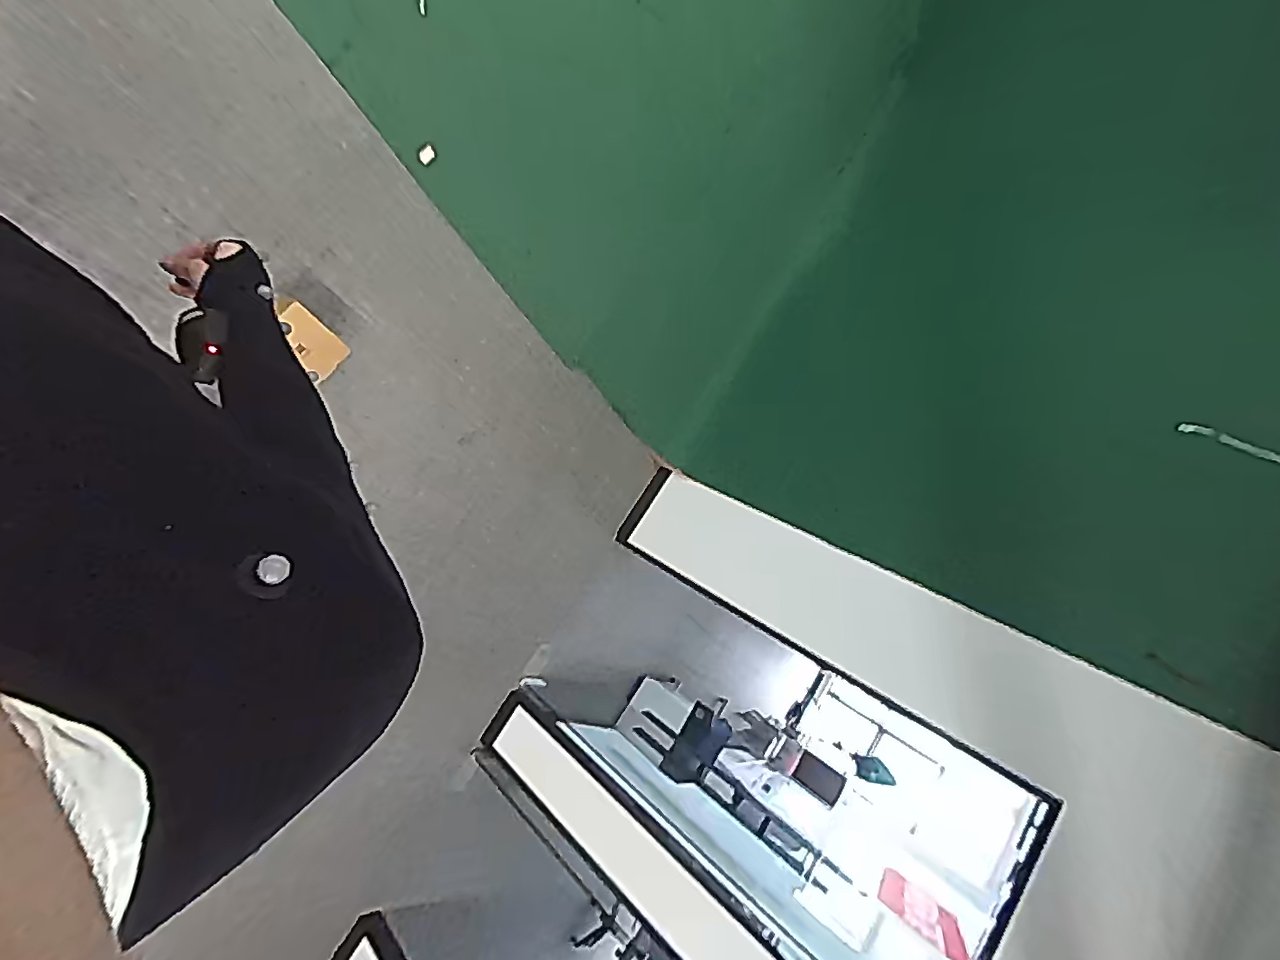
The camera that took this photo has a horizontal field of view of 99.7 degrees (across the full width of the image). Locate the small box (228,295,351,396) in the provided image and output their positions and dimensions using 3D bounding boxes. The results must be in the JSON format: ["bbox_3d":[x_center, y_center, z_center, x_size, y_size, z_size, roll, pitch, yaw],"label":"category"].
[{"bbox_3d":[-0.889,-0.346,1.369,0.168,0.176,0.179,-53,145,-14],"label":"small box"}]
